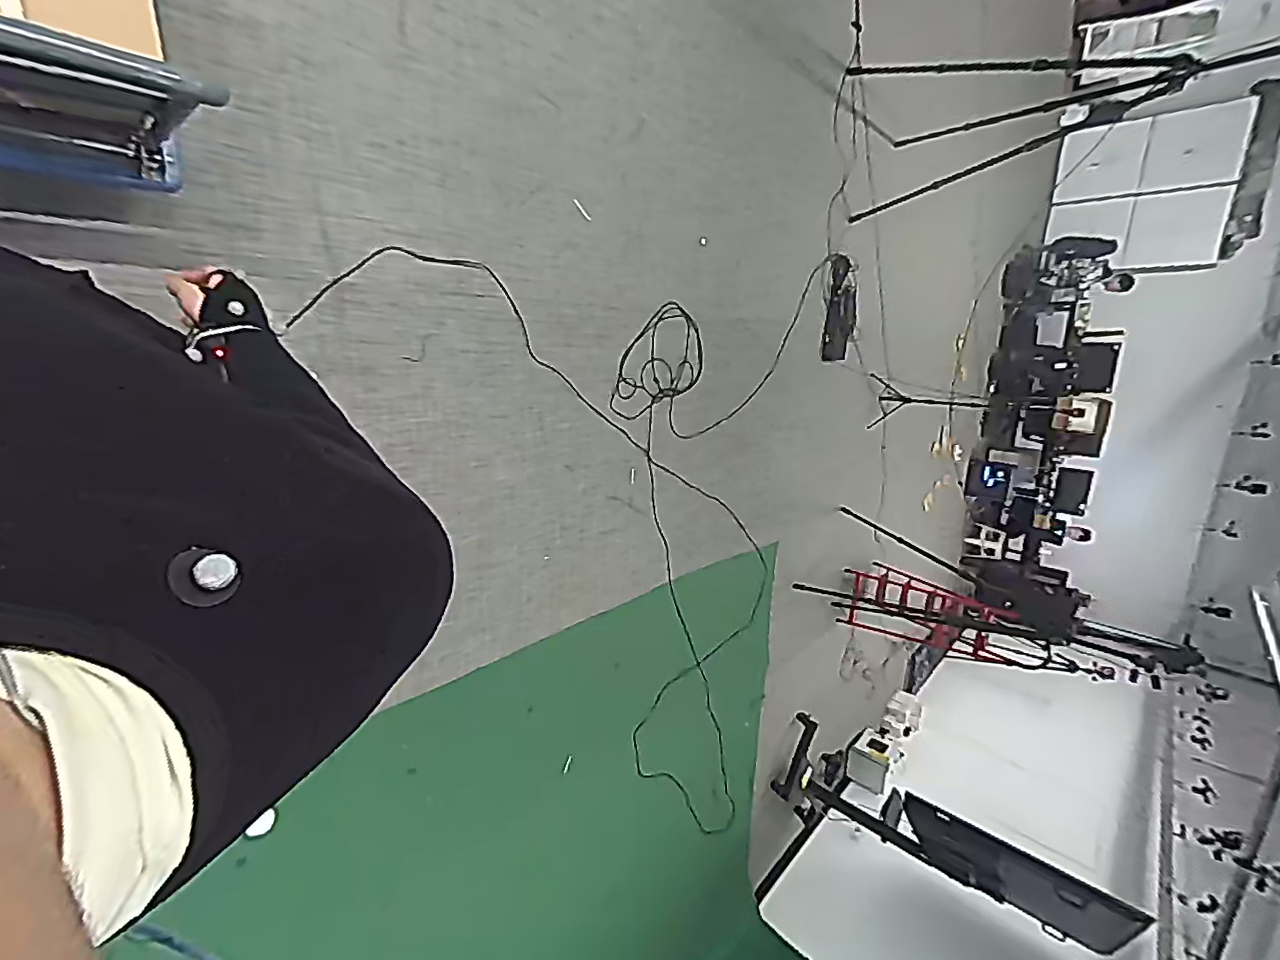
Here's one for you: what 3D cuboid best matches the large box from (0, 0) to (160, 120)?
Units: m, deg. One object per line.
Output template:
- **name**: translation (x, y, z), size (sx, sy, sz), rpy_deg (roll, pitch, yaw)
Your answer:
- **large box**: translation (-0.943, -0.807, 0.764), size (0.320, 0.320, 0.408), rpy_deg (-15, 112, -45)
